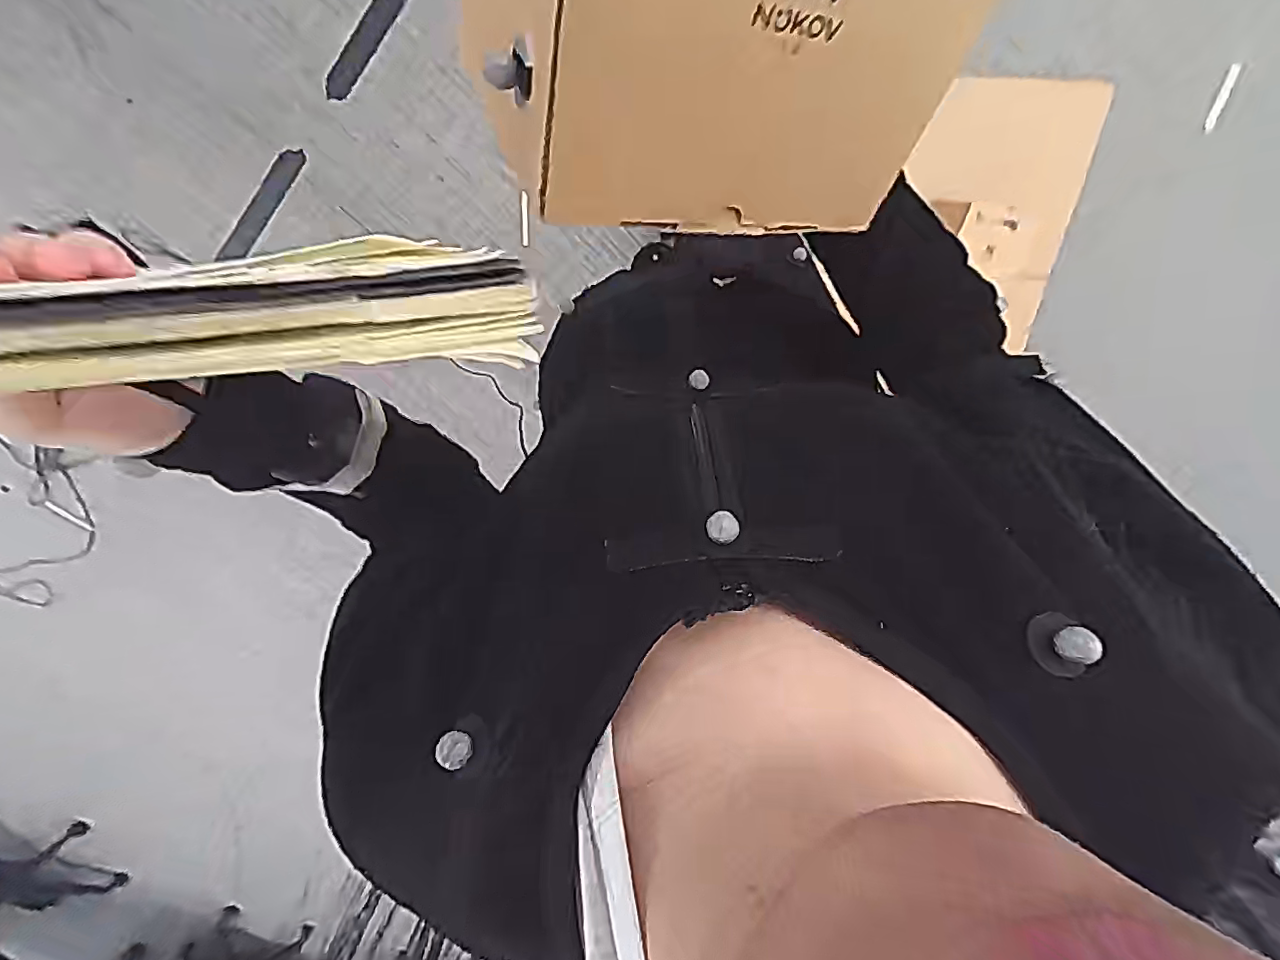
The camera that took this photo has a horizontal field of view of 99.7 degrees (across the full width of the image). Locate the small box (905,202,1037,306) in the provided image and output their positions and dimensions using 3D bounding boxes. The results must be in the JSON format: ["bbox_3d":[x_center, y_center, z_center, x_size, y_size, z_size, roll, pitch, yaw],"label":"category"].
[{"bbox_3d":[0.746,-0.525,1.247,0.168,0.176,0.179,11,119,-8],"label":"small box"}]

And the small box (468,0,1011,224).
[{"bbox_3d":[0.031,-0.225,0.204,0.168,0.176,0.179,-10,147,-22],"label":"small box"}]

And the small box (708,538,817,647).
[{"bbox_3d":[0.284,0.264,1.296,0.179,0.176,0.168,37,111,-19],"label":"small box"}]
